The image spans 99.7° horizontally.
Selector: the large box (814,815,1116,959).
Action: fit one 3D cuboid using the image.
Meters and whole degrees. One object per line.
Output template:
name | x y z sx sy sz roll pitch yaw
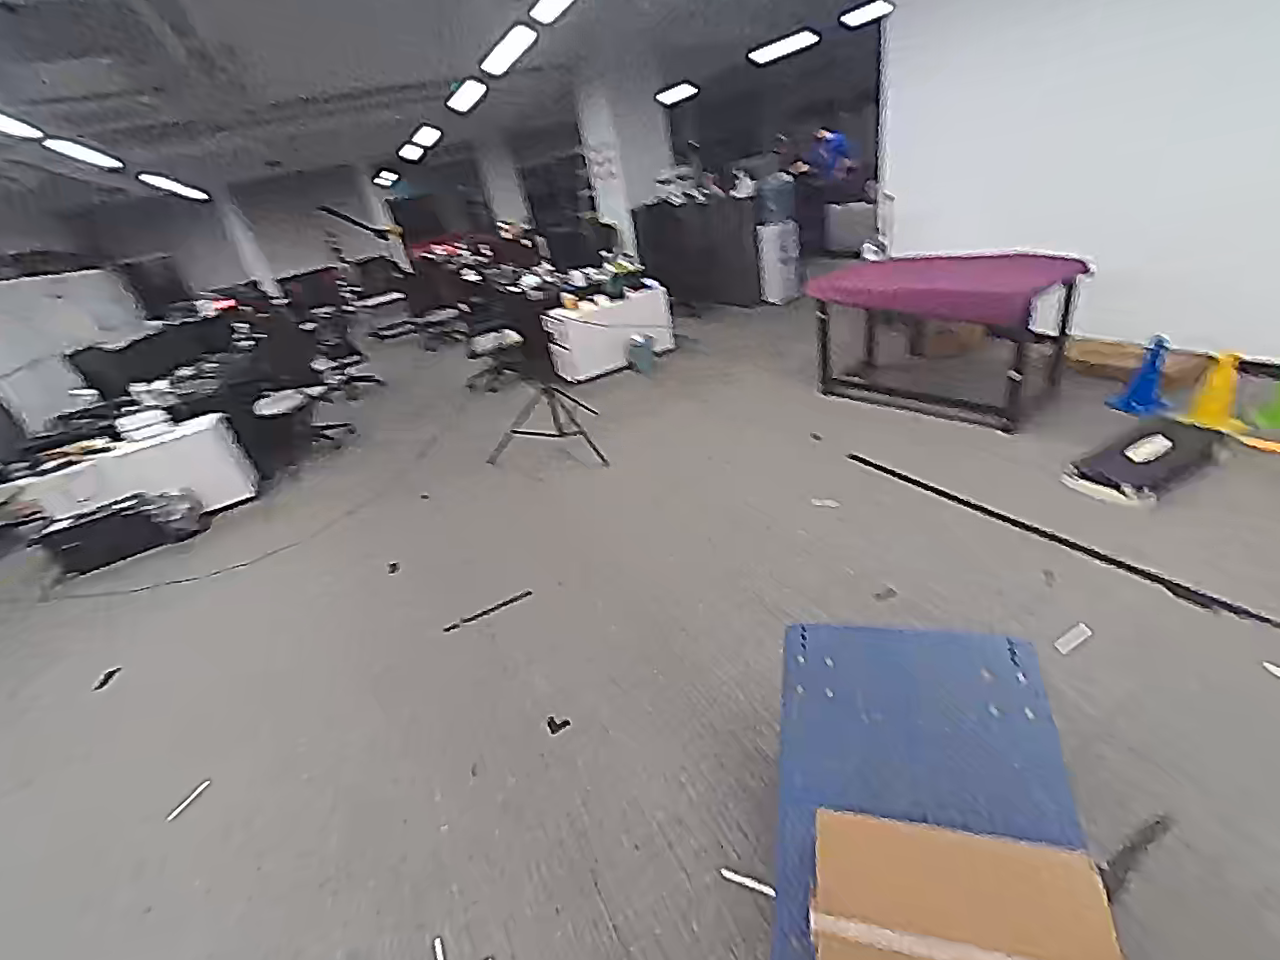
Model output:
large box | 0.509 0.798 0.907 0.408 0.320 0.320 -1 50 18
